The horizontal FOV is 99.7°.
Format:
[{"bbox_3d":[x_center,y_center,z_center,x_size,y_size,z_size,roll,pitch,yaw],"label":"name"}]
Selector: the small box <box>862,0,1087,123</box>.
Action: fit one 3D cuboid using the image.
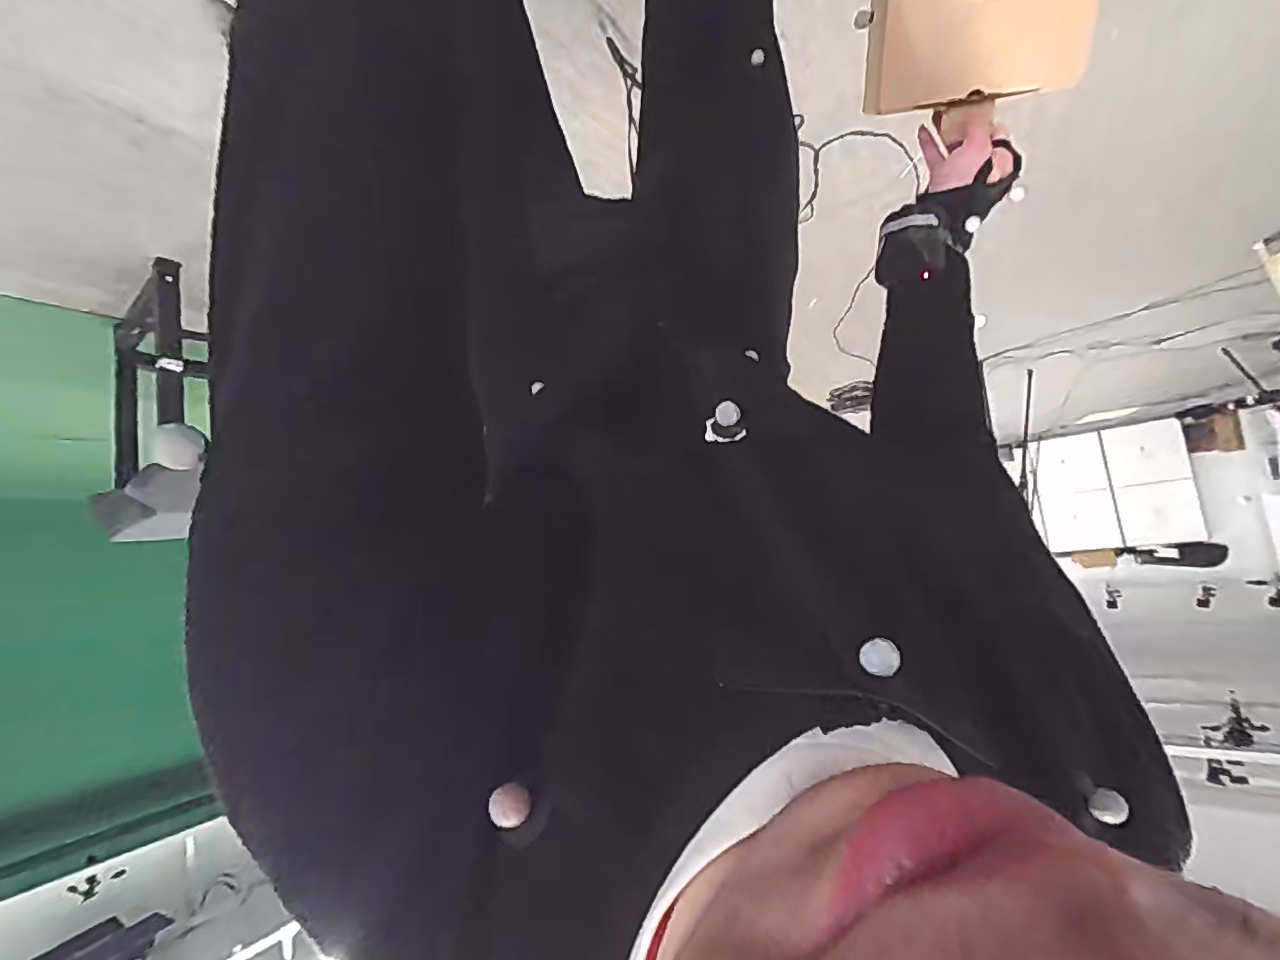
[{"bbox_3d":[0.310,-0.465,0.522,0.168,0.179,0.176,-1,-149,19],"label":"small box"}]
